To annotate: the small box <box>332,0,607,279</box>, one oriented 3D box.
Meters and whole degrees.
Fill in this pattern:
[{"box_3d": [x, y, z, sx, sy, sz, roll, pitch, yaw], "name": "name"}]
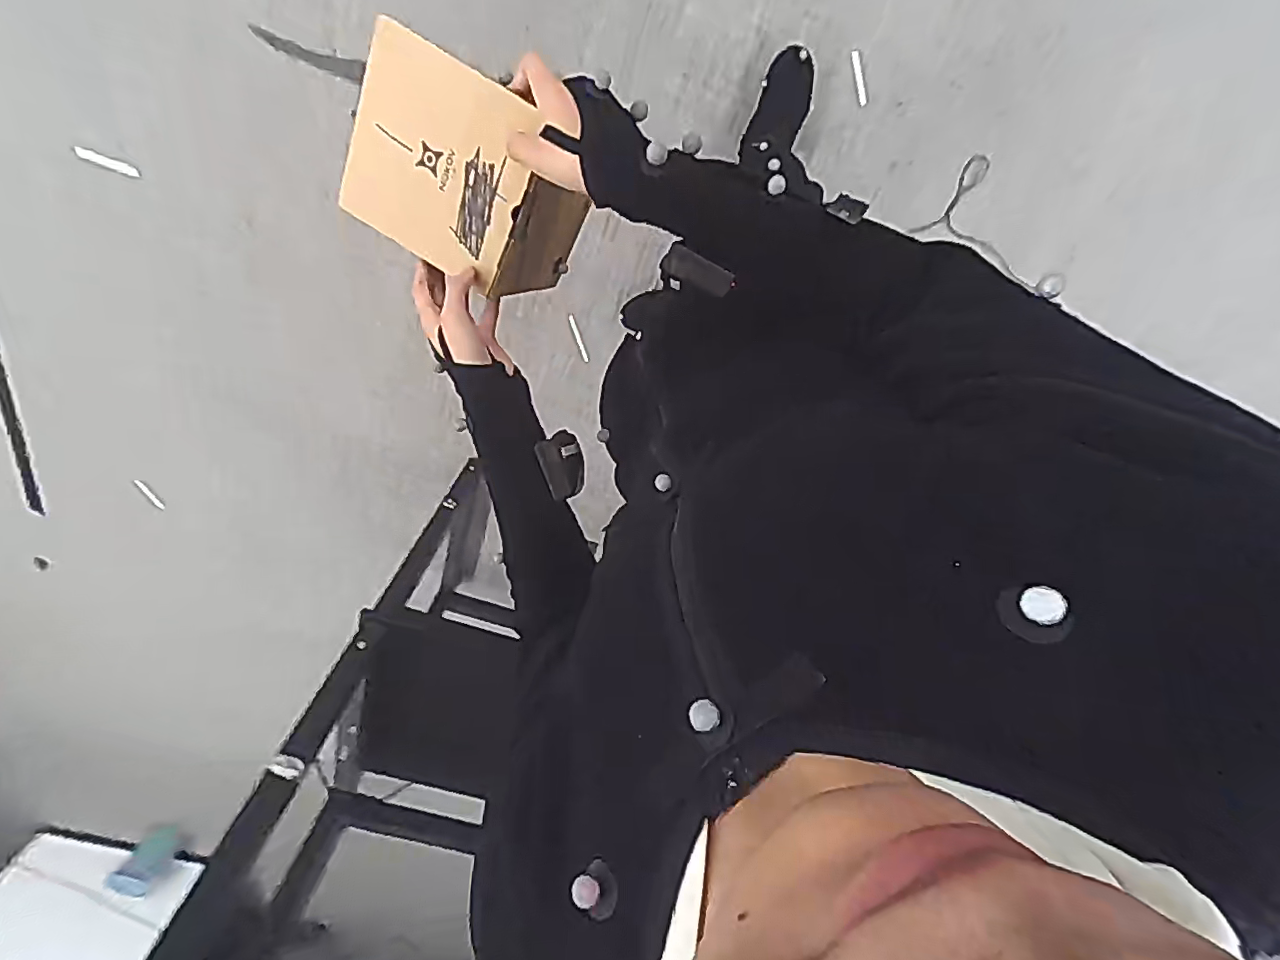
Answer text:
[{"box_3d": [-0.156, -0.325, 0.539, 0.179, 0.176, 0.168, 33, 116, 1], "name": "small box"}]
